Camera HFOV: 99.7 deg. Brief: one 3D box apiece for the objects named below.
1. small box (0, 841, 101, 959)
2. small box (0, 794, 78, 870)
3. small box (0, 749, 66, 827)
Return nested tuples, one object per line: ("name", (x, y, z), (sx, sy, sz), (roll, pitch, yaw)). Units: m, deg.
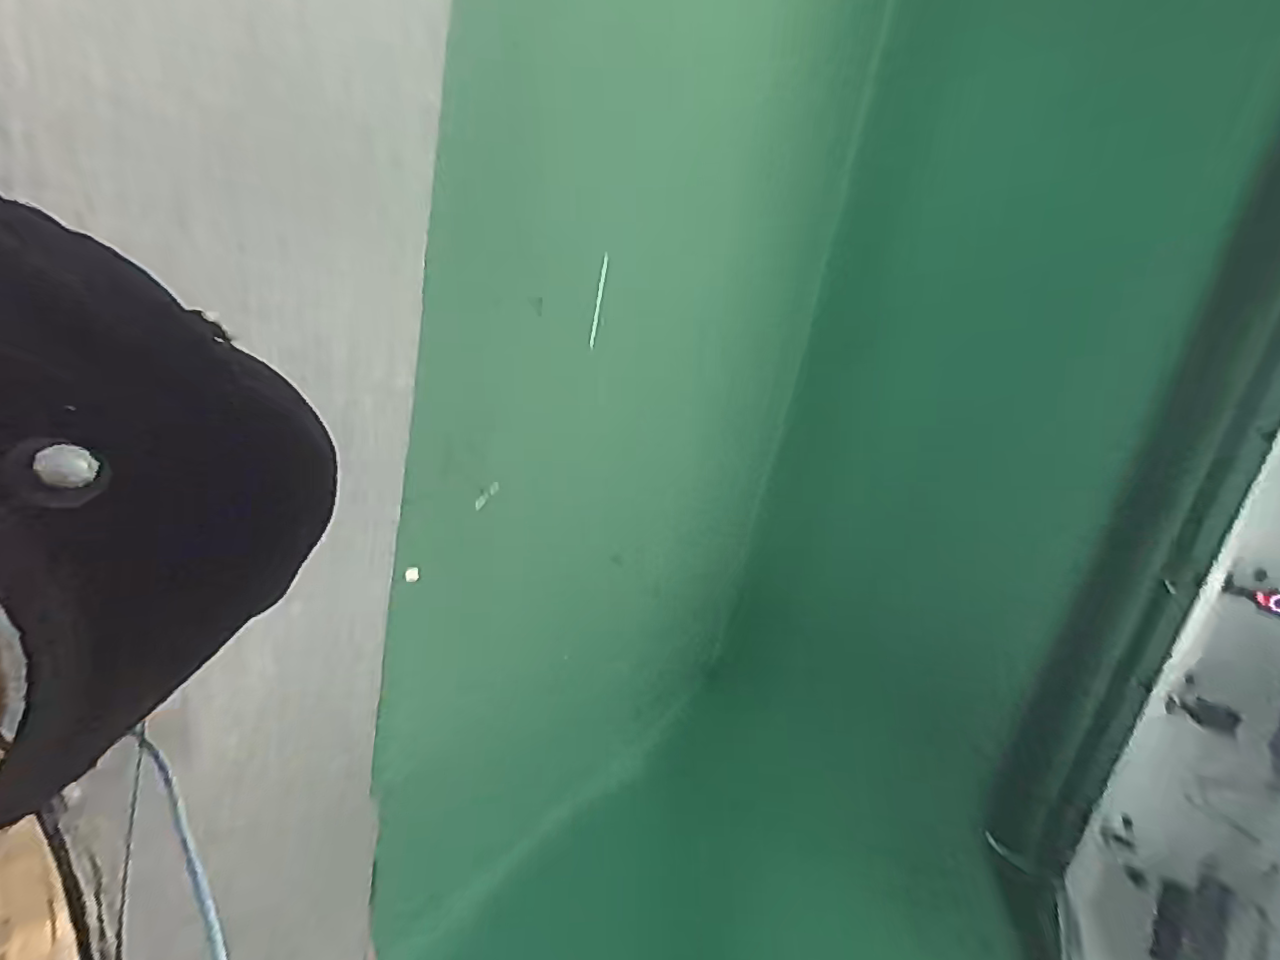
("small box", (-1.056, 0.770, 0.909), (0.179, 0.176, 0.168), (-14, 119, -54))
("small box", (-1.187, 0.737, 1.006), (0.179, 0.176, 0.168), (-17, 120, -52))
("small box", (-1.315, 0.695, 1.099), (0.179, 0.176, 0.168), (-16, 120, -53))
